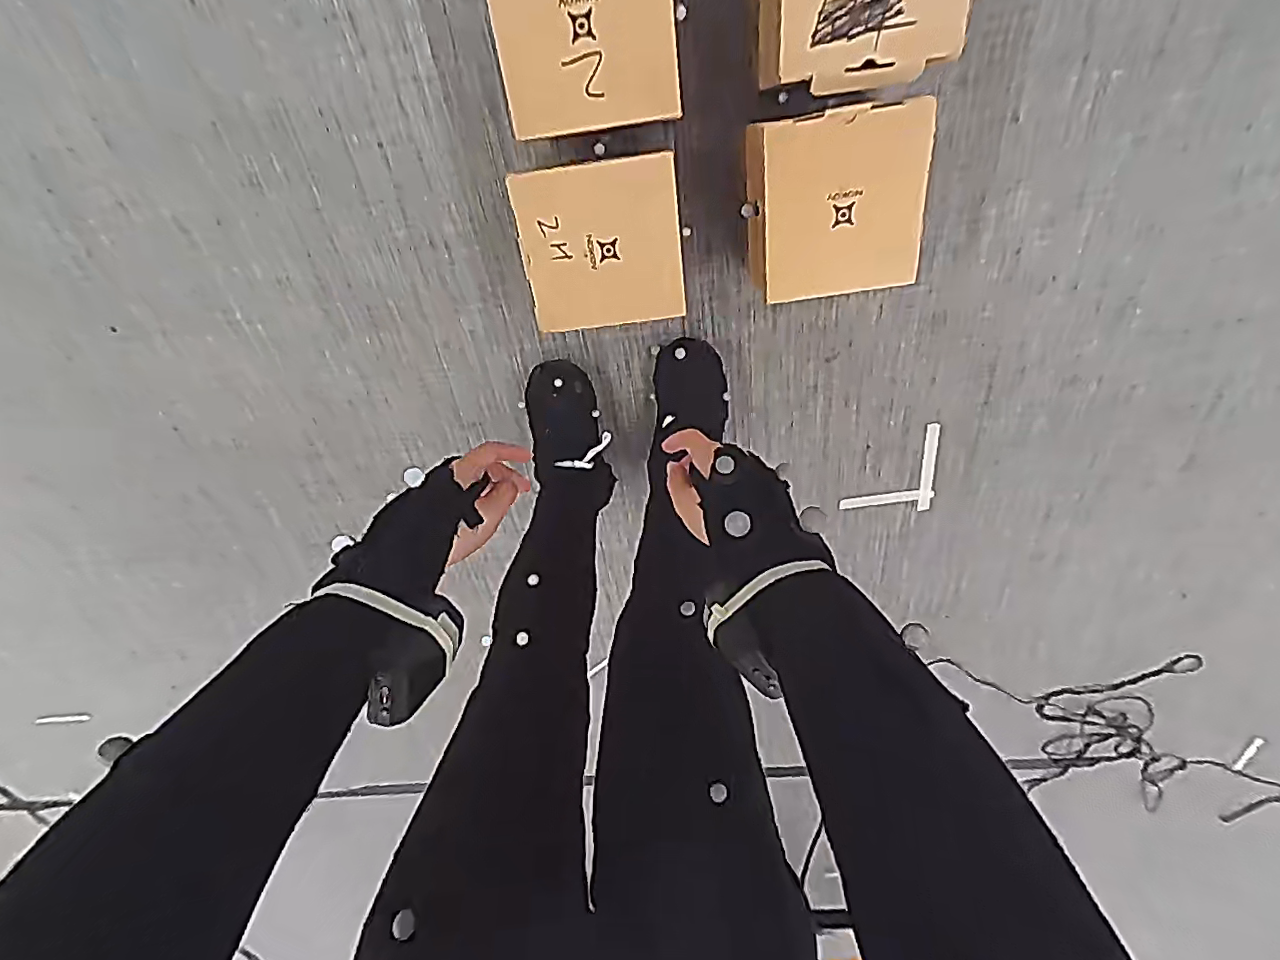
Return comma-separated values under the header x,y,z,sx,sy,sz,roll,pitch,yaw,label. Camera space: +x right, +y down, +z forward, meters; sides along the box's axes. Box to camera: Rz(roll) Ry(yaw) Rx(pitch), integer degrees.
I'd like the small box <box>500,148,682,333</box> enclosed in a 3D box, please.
x,y,z,sx,sy,sz,roll,pitch,yaw,label
-0.047,-0.289,0.645,0.179,0.176,0.168,-6,123,4,small box
